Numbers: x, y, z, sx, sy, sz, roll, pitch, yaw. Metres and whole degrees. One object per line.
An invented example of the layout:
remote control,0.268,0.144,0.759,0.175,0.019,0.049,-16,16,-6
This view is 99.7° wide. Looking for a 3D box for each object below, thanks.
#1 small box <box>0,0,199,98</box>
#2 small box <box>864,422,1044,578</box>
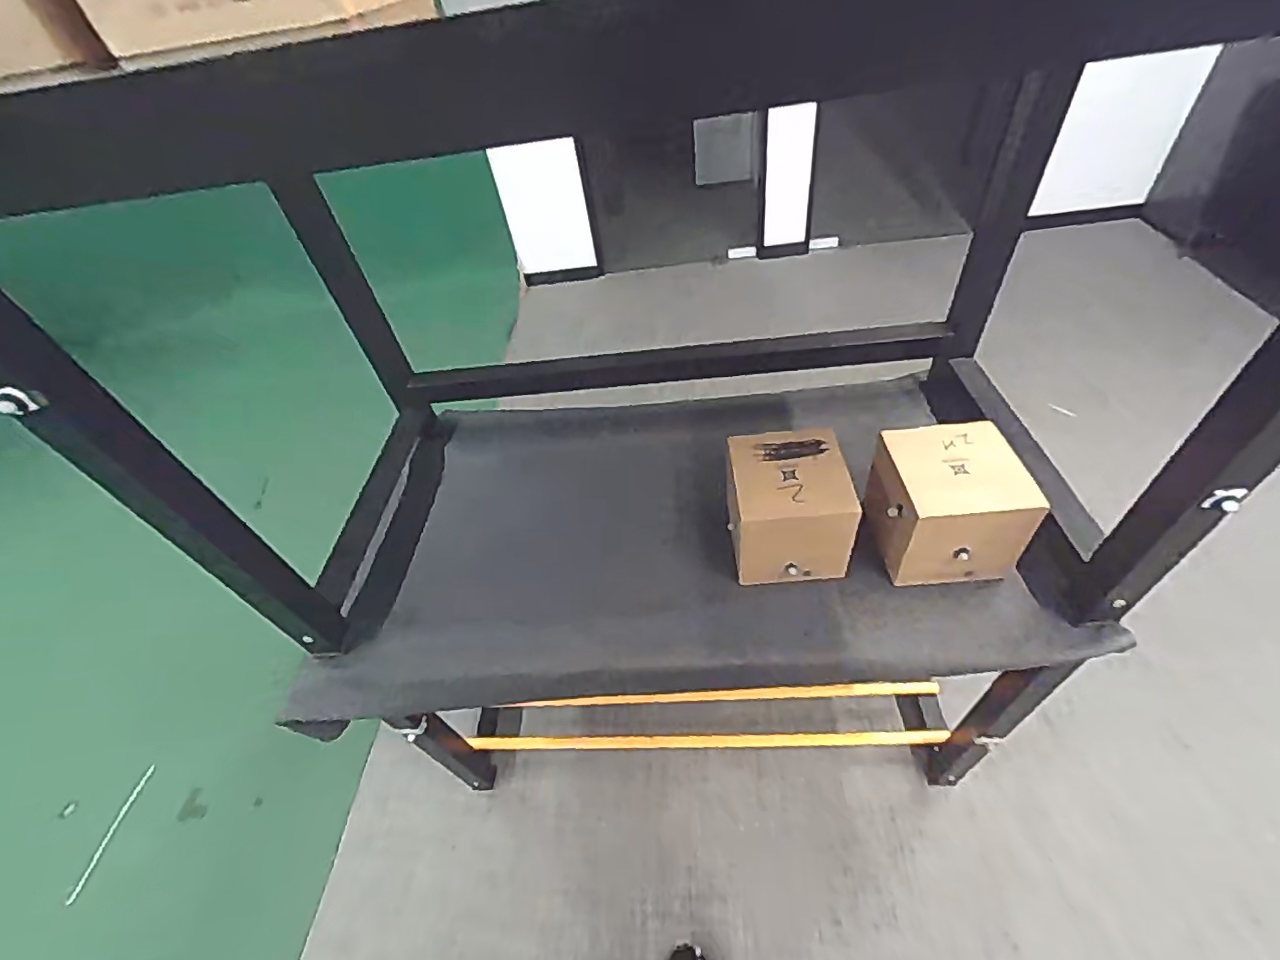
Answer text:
small box,-0.463,-0.378,0.370,0.168,0.176,0.179,-5,47,6
small box,0.458,0.037,0.823,0.168,0.176,0.179,-5,45,5
